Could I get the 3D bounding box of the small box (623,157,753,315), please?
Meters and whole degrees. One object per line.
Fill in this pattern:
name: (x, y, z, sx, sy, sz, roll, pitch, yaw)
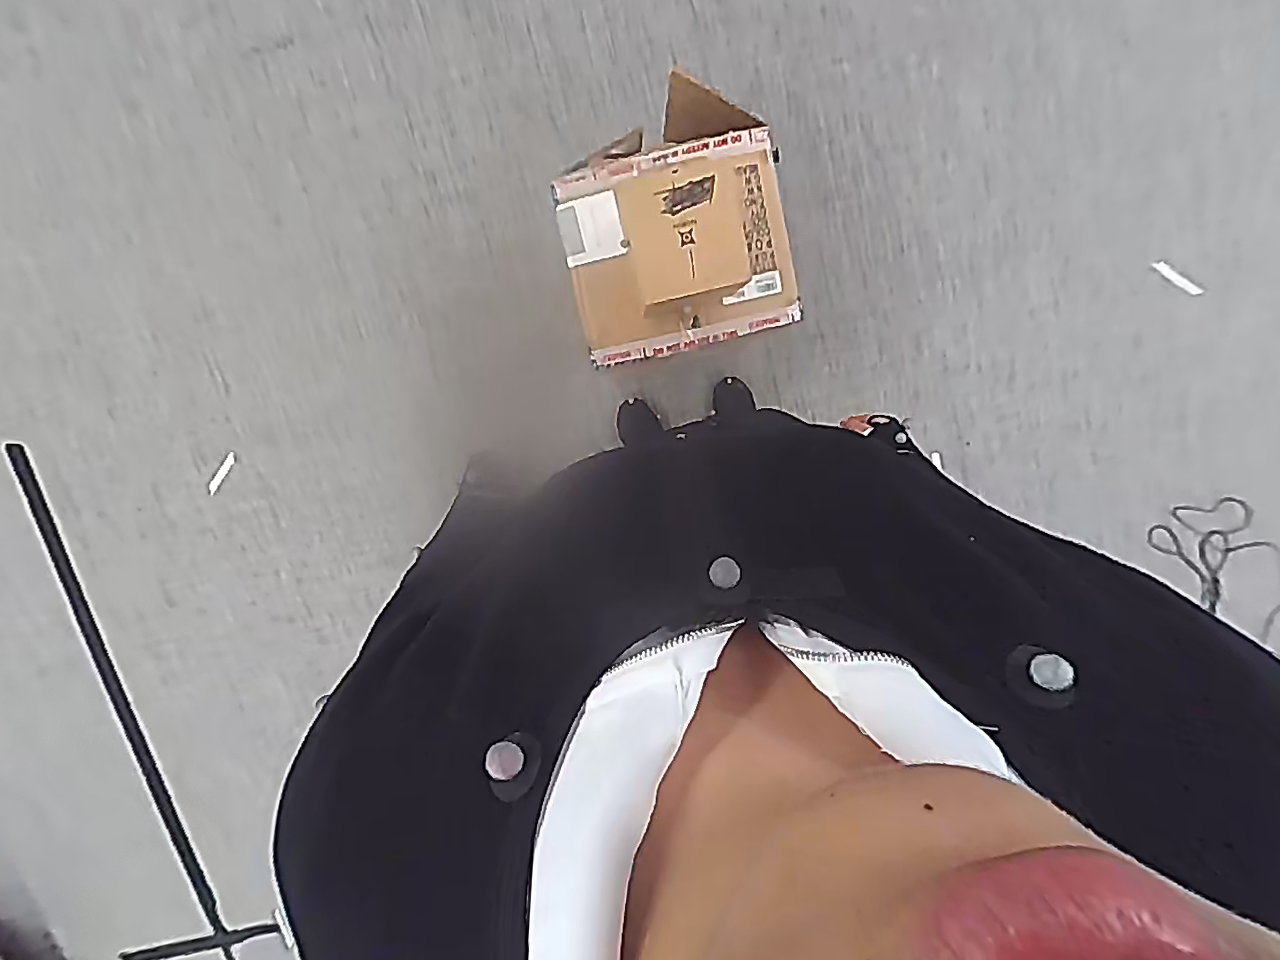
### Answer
small box: (0.069, -0.376, 0.862, 0.168, 0.176, 0.179, -13, 102, 2)
